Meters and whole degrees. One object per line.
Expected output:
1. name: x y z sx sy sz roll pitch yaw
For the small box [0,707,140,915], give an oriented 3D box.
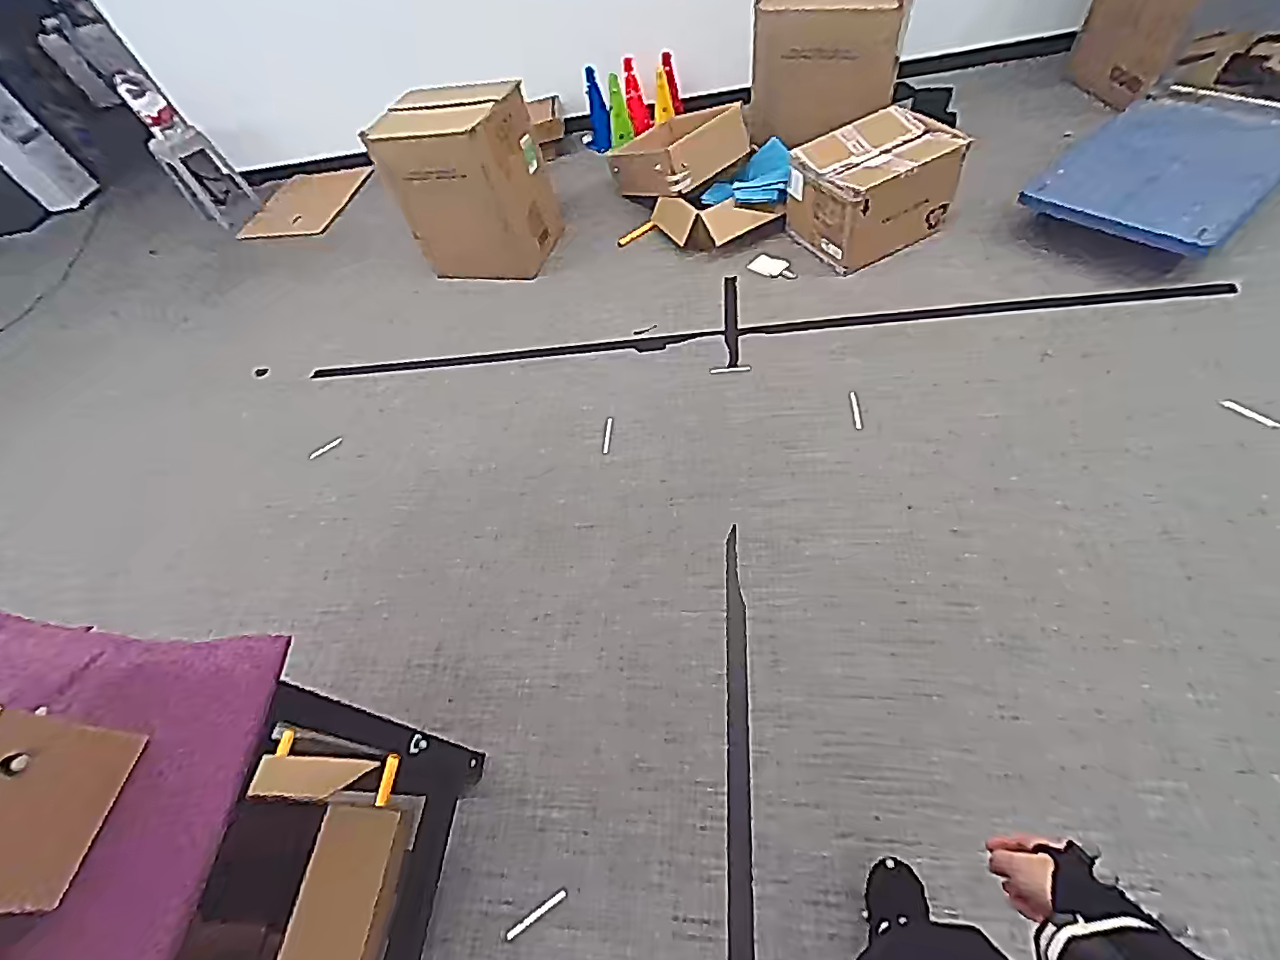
1. small box: -0.719 0.358 0.593 0.168 0.176 0.179 -3 54 13
